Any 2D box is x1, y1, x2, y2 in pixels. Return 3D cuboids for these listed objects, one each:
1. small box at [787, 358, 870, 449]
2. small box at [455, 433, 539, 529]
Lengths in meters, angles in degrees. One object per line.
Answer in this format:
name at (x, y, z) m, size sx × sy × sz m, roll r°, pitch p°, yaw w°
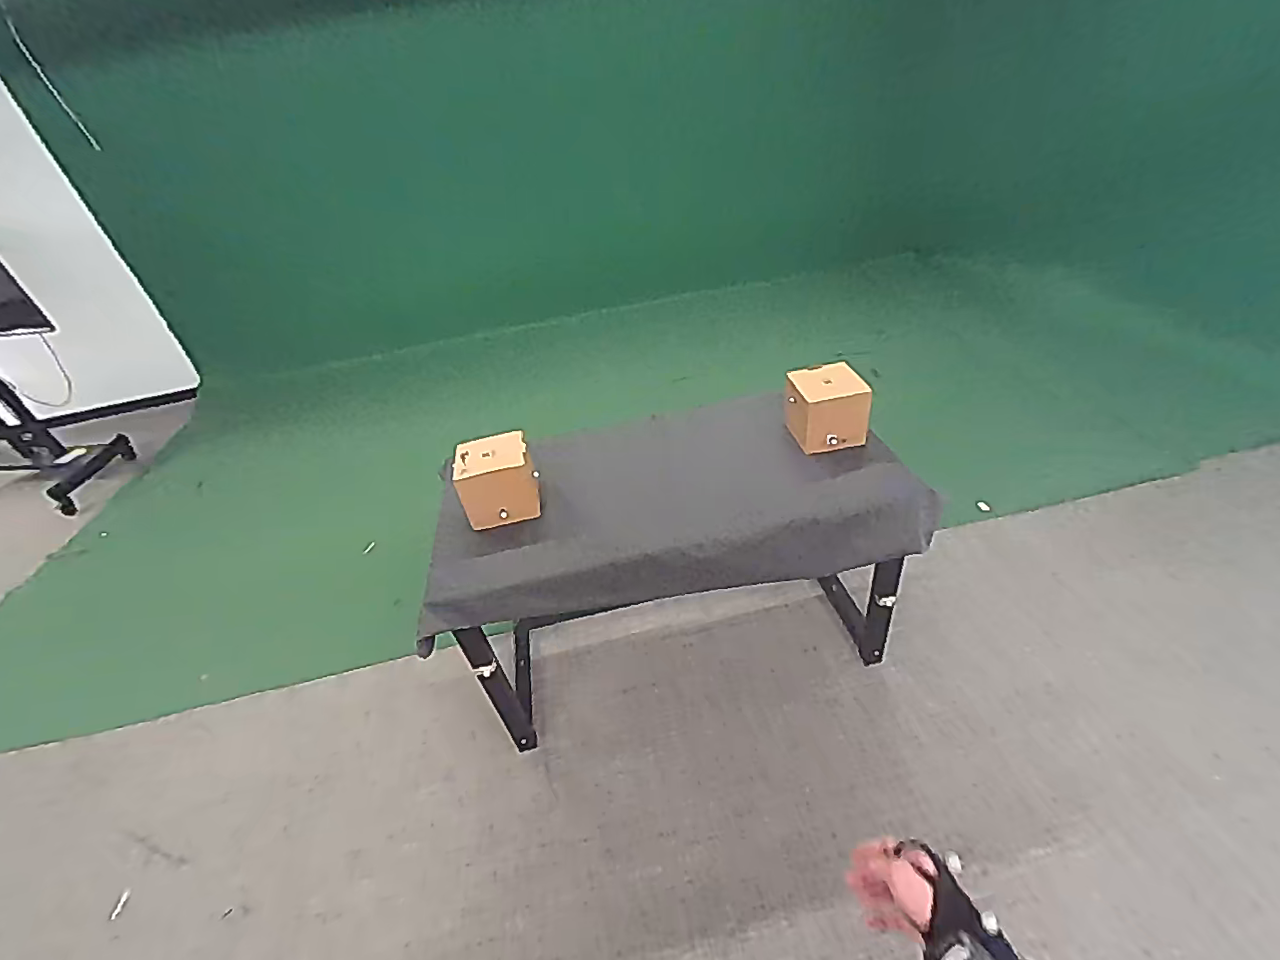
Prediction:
small box at (0.499, -0.206, 1.457) m, size 0.168 × 0.176 × 0.179 m, roll -11°, pitch 38°, yaw 3°
small box at (-0.362, 0.004, 1.405) m, size 0.179 × 0.176 × 0.168 m, roll -12°, pitch 37°, yaw -5°
